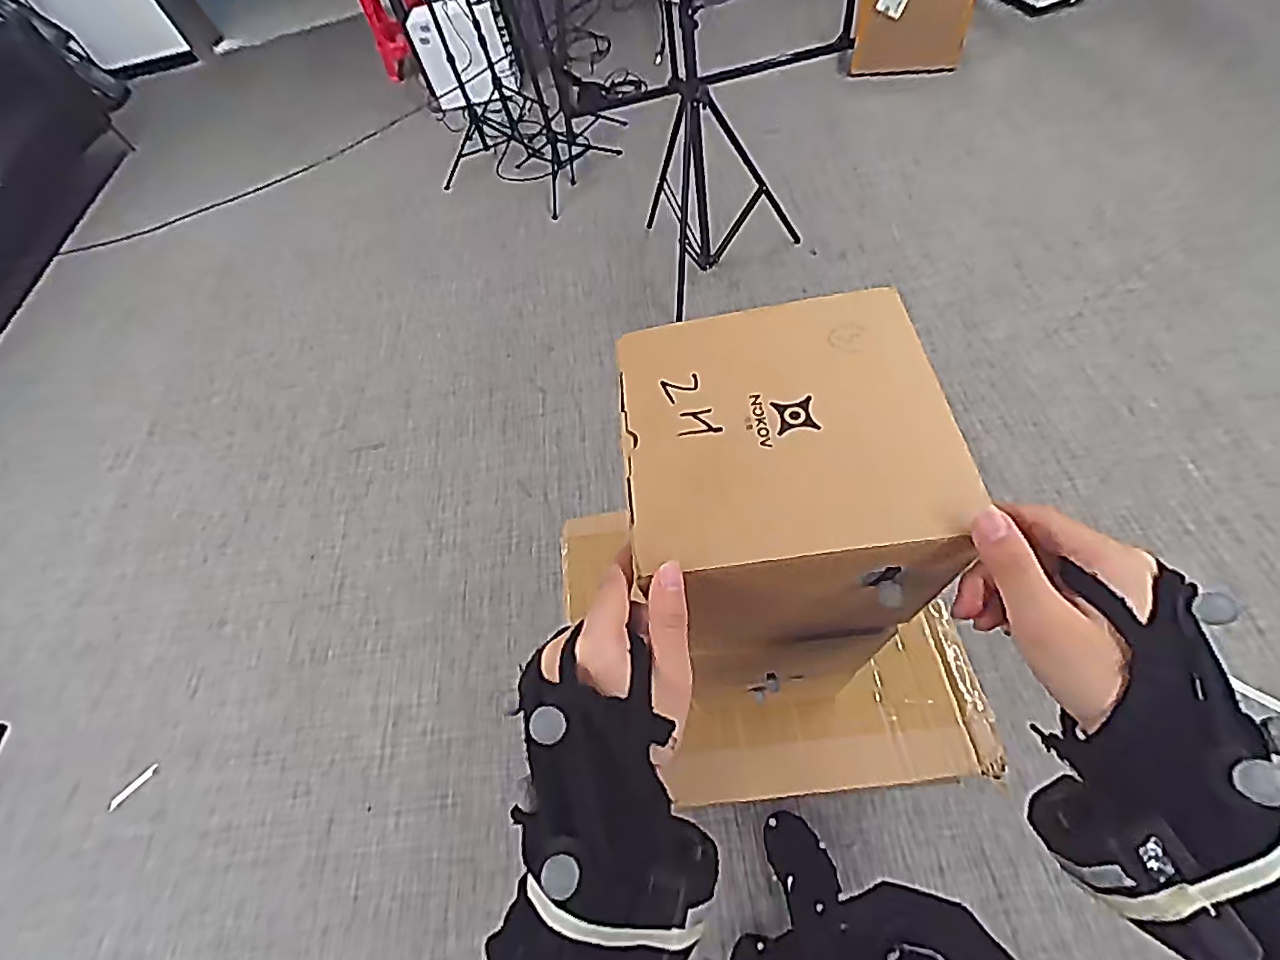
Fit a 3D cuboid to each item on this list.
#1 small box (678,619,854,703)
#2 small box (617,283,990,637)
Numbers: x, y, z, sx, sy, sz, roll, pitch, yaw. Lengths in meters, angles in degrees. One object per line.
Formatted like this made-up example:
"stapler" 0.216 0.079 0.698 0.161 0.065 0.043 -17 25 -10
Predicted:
"small box" 0.137 0.165 0.651 0.179 0.176 0.168 -8 59 6
"small box" 0.088 0.000 0.370 0.179 0.176 0.168 -9 60 6
